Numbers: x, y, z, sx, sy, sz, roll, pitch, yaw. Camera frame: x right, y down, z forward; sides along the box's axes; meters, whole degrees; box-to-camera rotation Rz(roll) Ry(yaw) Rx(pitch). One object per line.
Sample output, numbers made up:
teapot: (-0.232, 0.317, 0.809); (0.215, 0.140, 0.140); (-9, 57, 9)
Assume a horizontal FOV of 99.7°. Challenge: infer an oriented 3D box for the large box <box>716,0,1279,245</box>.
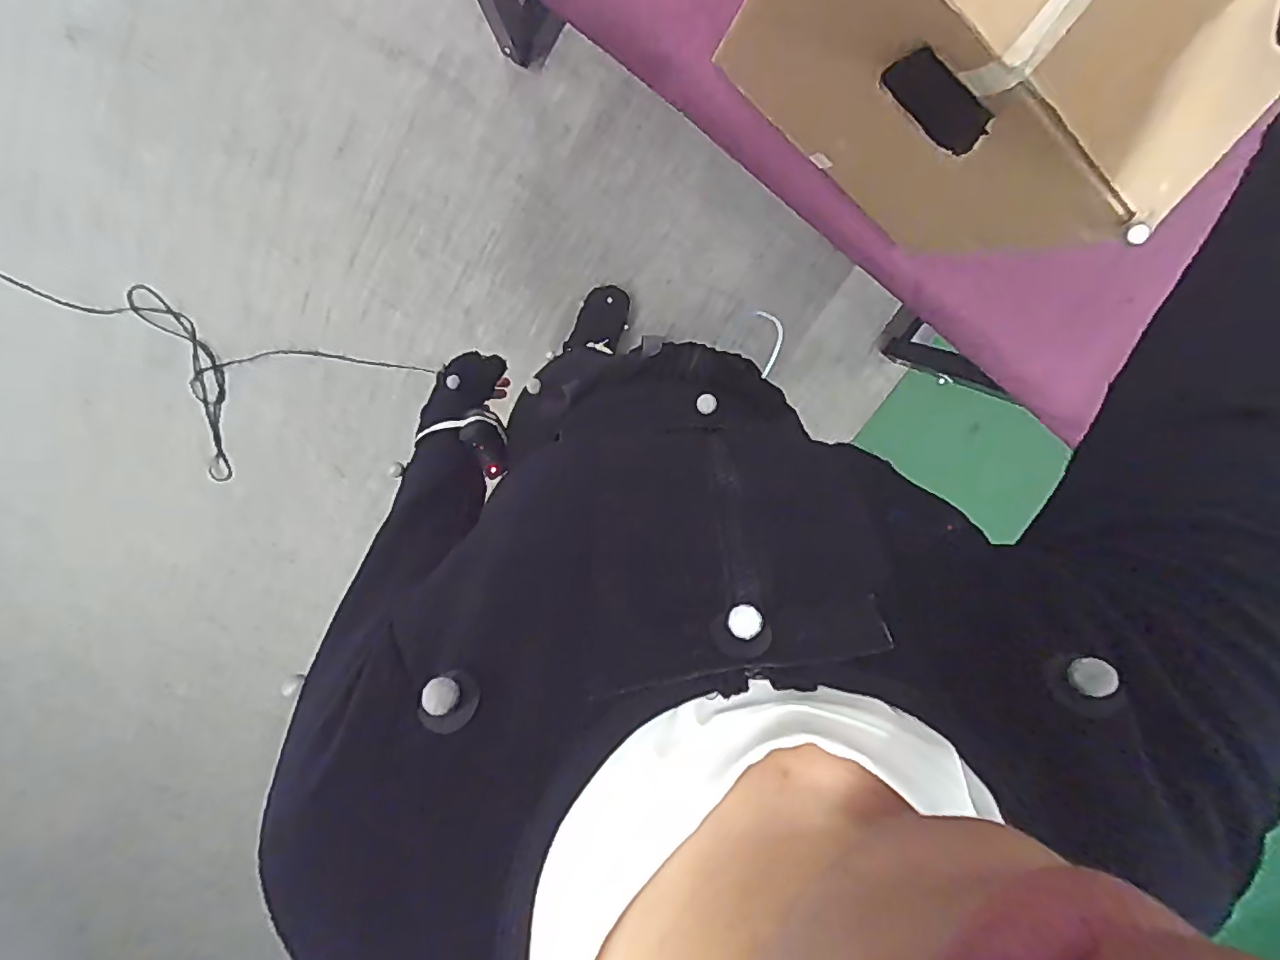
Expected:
large box: (0.325, -0.463, 0.441); (0.320, 0.320, 0.408); (34, 106, -15)
